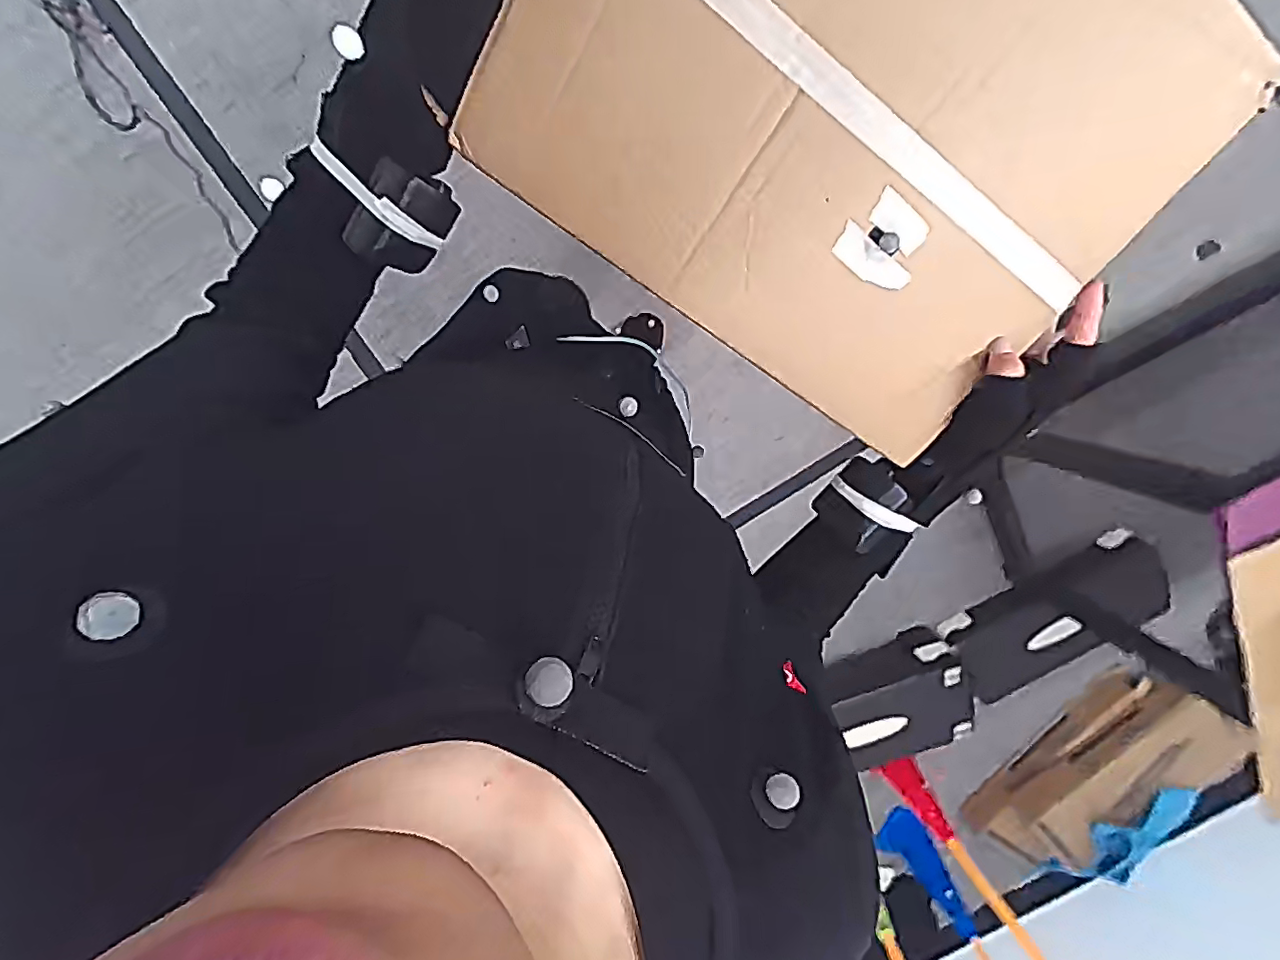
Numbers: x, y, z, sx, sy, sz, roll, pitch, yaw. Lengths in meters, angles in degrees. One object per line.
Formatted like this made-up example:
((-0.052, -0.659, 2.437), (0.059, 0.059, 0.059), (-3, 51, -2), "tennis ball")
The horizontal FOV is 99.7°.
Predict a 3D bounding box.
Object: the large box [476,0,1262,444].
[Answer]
((0.137, -0.304, 0.474), (0.408, 0.320, 0.320), (31, 115, -15), "large box")
